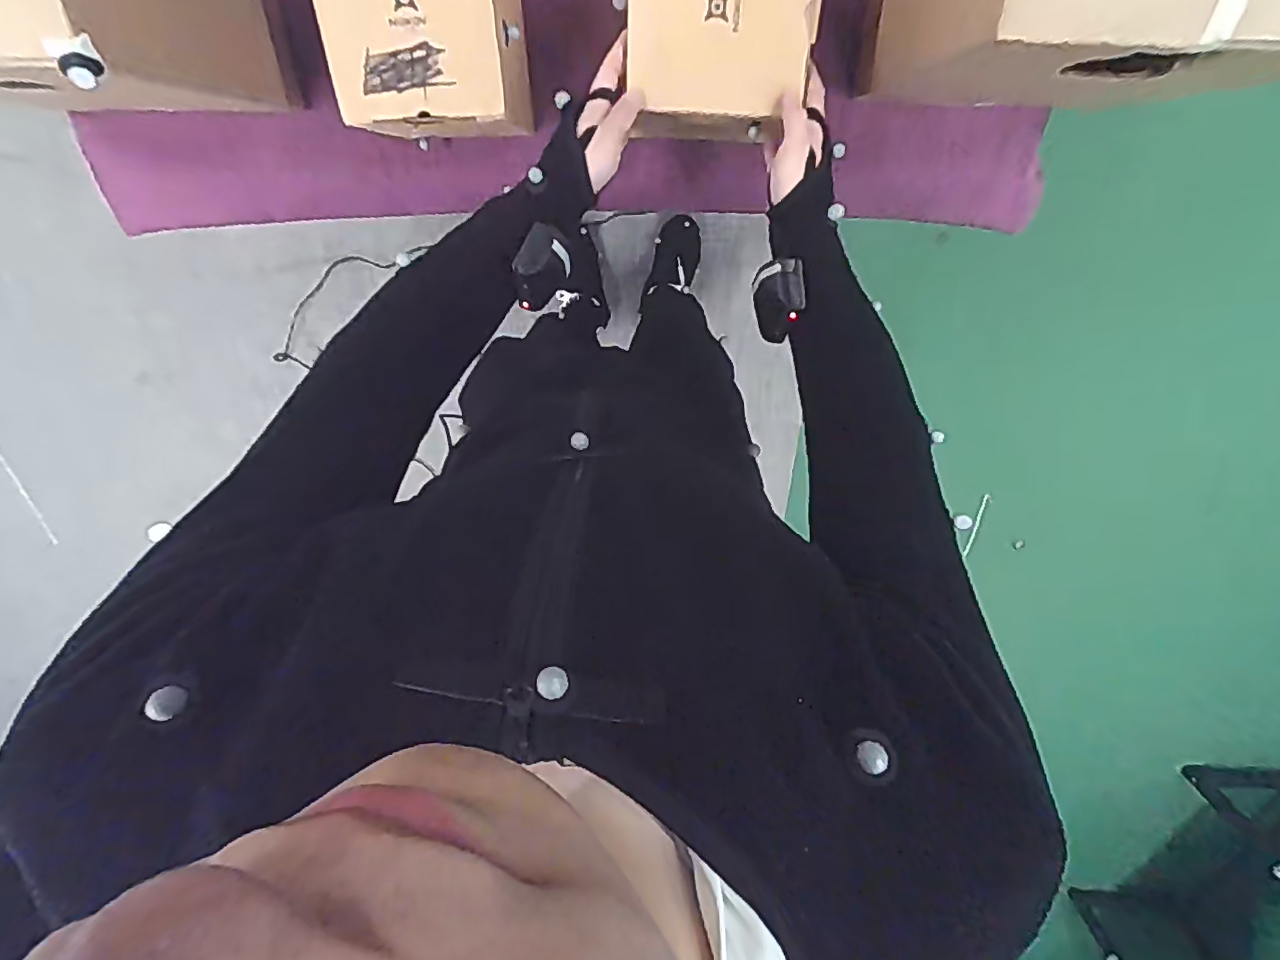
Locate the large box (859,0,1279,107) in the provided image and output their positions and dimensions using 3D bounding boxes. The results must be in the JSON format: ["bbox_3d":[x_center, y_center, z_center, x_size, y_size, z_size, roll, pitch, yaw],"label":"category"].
[{"bbox_3d":[0.417,-0.563,0.436,0.320,0.320,0.408,2,120,0],"label":"large box"}]
